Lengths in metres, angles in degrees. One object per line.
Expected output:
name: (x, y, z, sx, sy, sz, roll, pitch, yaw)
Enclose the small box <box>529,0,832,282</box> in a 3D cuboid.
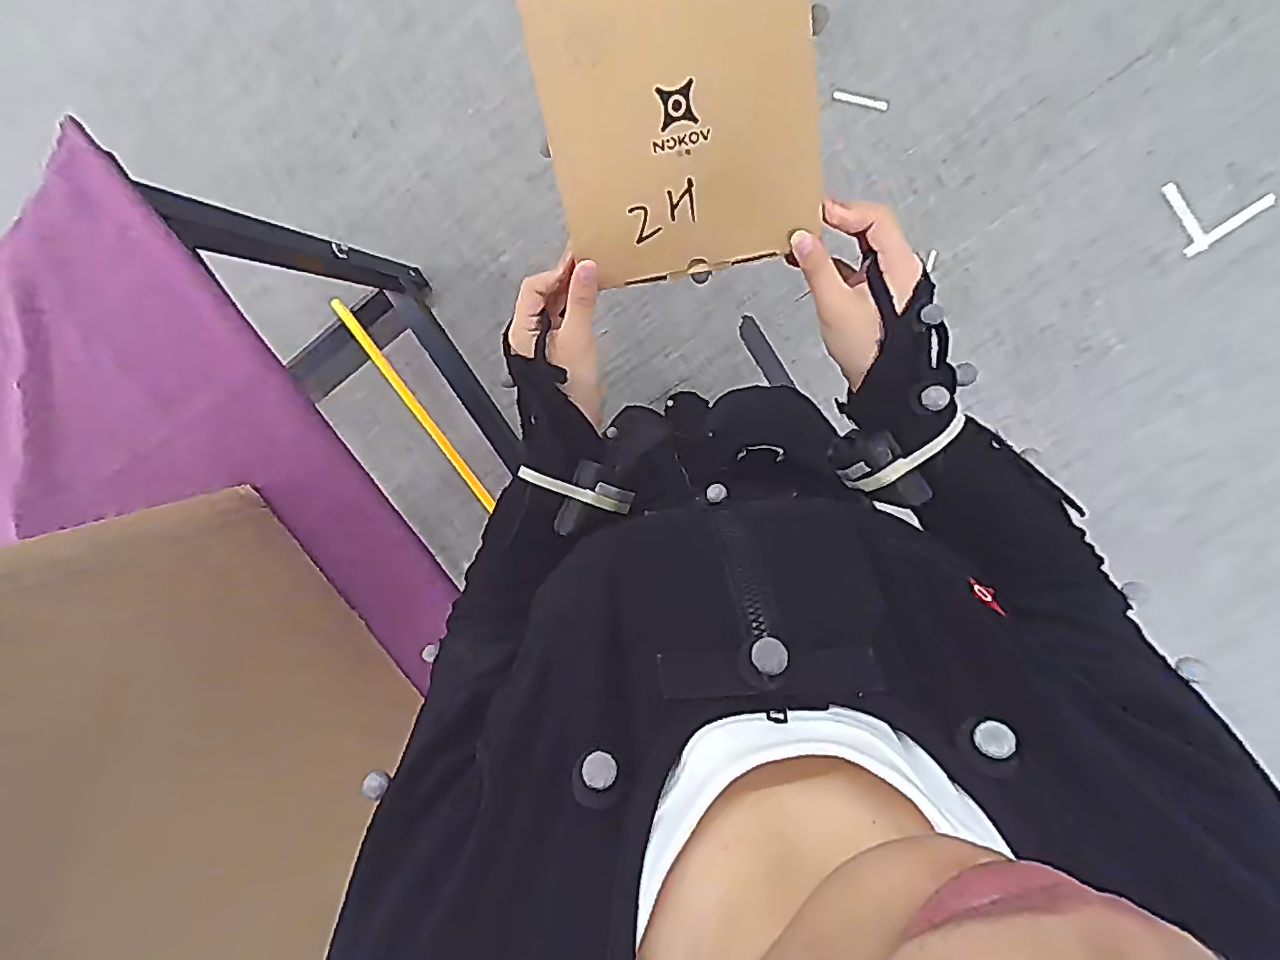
small box: (0.038, -0.257, 0.406, 0.168, 0.176, 0.179, -9, 111, 12)
